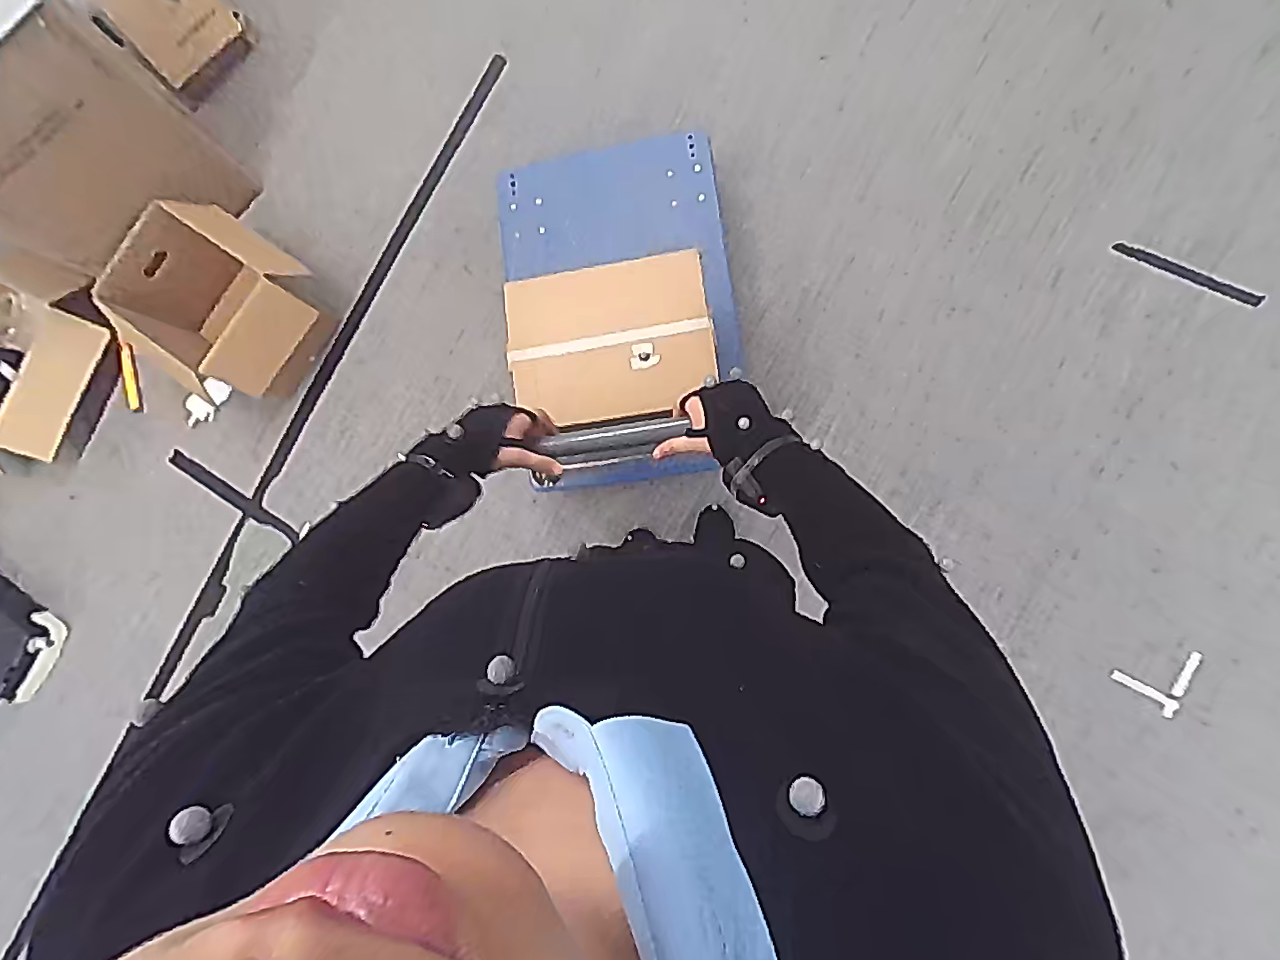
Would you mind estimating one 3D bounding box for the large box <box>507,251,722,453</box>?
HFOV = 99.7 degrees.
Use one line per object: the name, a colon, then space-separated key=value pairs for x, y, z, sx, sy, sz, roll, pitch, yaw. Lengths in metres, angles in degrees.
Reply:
large box: x=-0.044 y=-0.260 z=1.219 sx=0.408 sy=0.320 sz=0.320 roll=-8 pitch=85 yaw=5
